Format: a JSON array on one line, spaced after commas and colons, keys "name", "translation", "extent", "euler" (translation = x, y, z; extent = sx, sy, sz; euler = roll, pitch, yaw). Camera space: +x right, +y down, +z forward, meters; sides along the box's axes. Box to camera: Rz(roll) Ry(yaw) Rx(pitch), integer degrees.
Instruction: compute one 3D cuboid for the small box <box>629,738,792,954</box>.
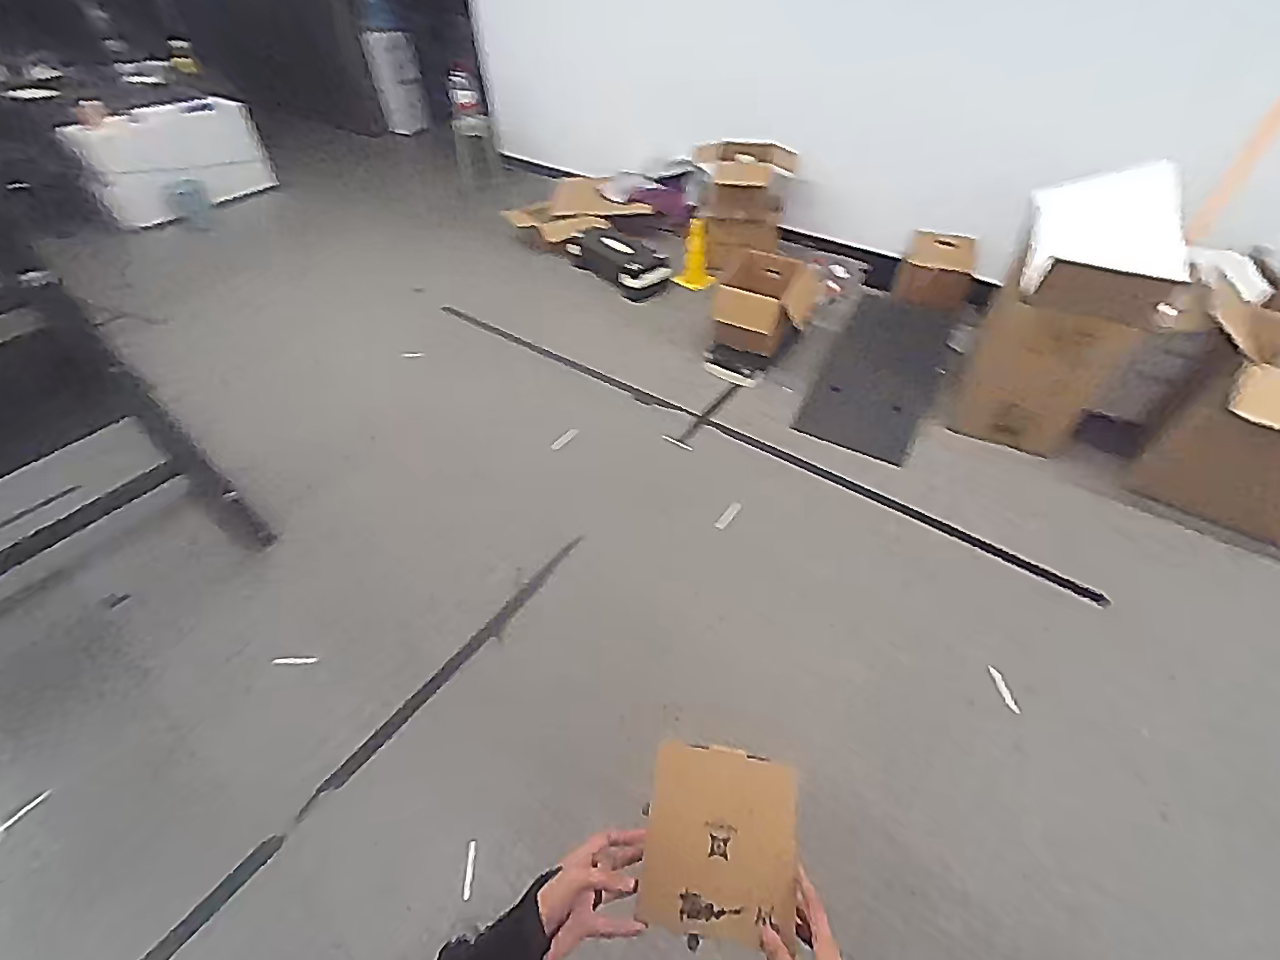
[{"name": "small box", "translation": [0.086, 0.438, 0.662], "extent": [0.168, 0.176, 0.179], "euler": [6, 56, 9]}]
